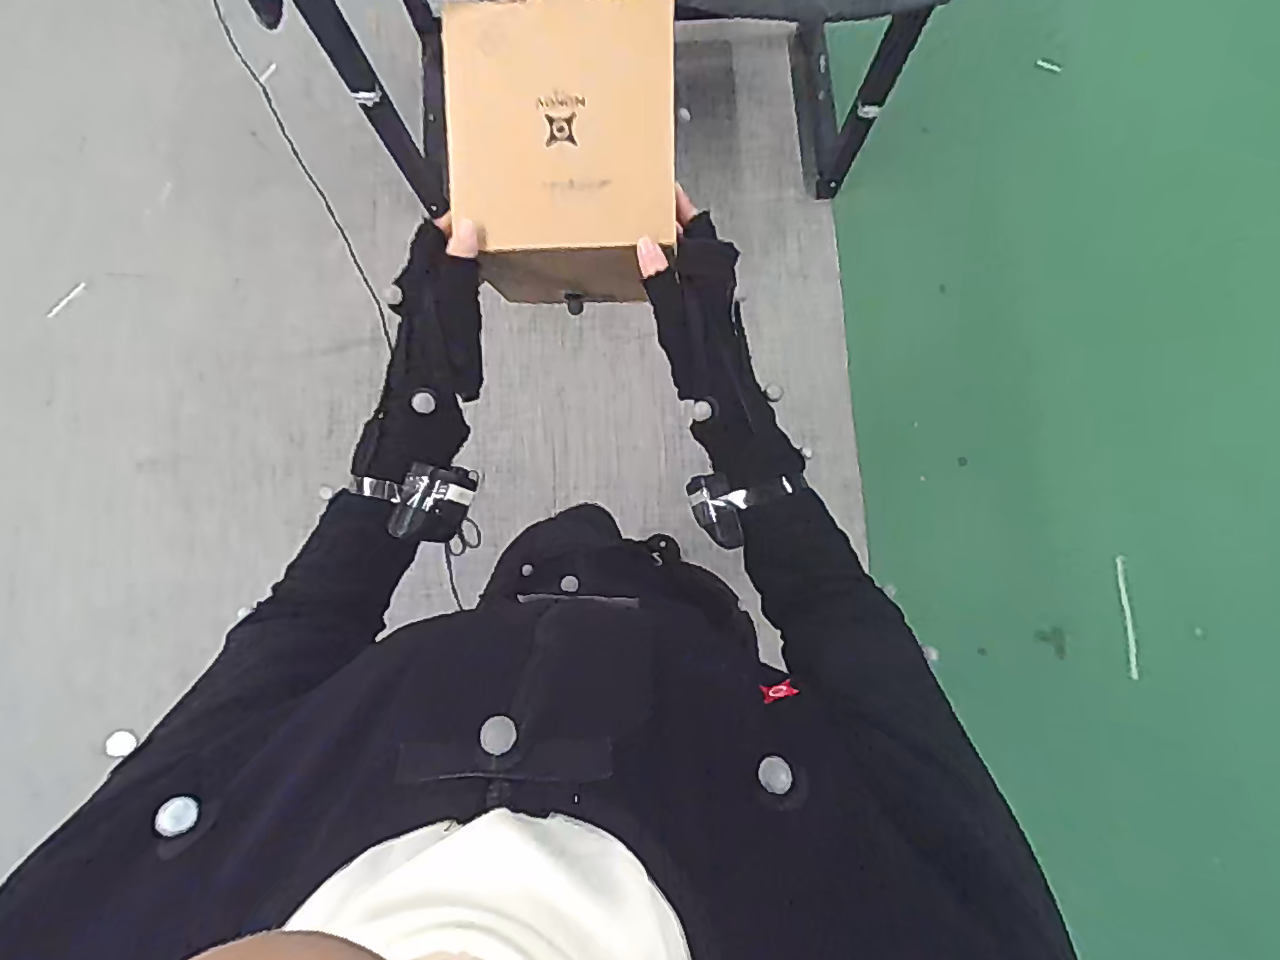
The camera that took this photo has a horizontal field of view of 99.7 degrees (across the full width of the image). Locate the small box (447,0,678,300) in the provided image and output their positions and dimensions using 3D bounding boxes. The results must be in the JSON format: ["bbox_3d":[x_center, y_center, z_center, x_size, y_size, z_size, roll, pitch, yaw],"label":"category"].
[{"bbox_3d":[-0.052,-0.267,0.466,0.168,0.176,0.179,-1,95,3],"label":"small box"}]
